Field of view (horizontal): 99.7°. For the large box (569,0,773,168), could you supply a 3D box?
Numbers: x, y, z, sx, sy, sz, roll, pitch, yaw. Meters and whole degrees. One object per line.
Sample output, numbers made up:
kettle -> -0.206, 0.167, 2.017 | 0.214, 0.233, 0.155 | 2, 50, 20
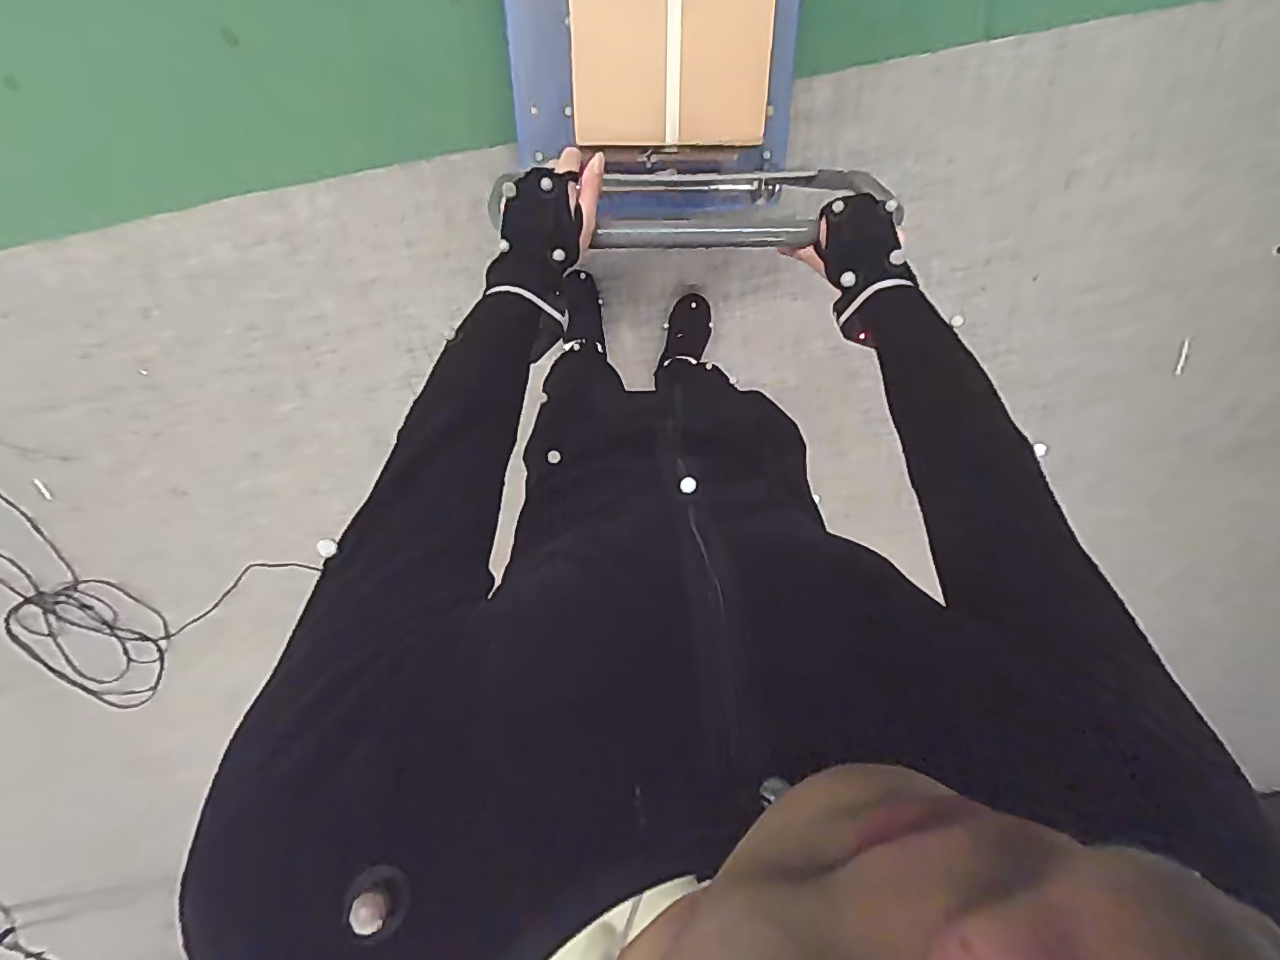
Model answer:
large box -> 0.044, -0.790, 0.942 | 0.320, 0.320, 0.408 | -2, 116, -2
